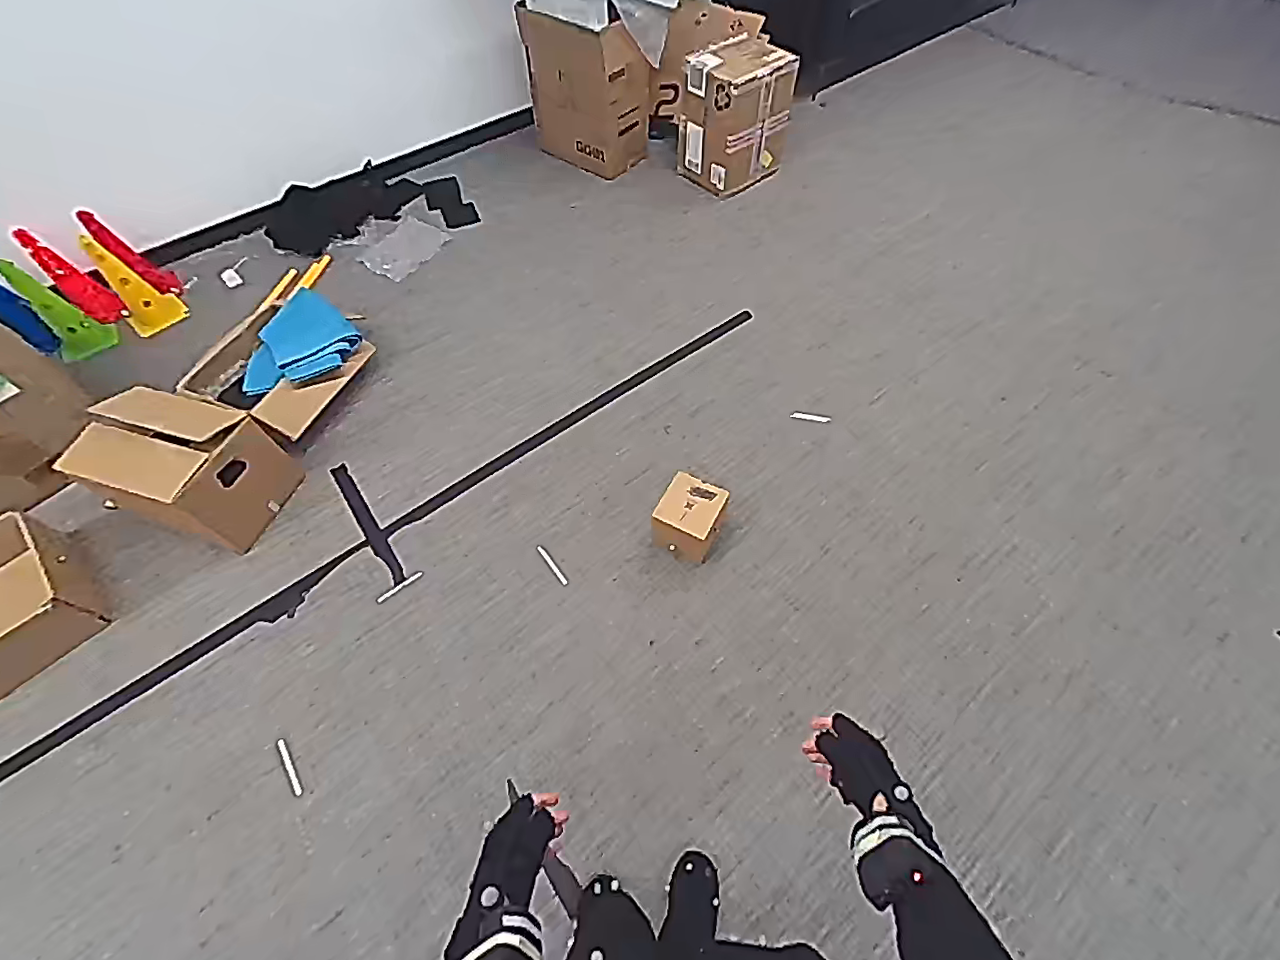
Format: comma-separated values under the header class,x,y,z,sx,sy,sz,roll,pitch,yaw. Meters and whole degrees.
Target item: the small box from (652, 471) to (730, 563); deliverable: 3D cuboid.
class,x,y,z,sx,sy,sz,roll,pitch,yaw
small box,0.145,0.111,1.584,0.168,0.176,0.179,25,62,17
